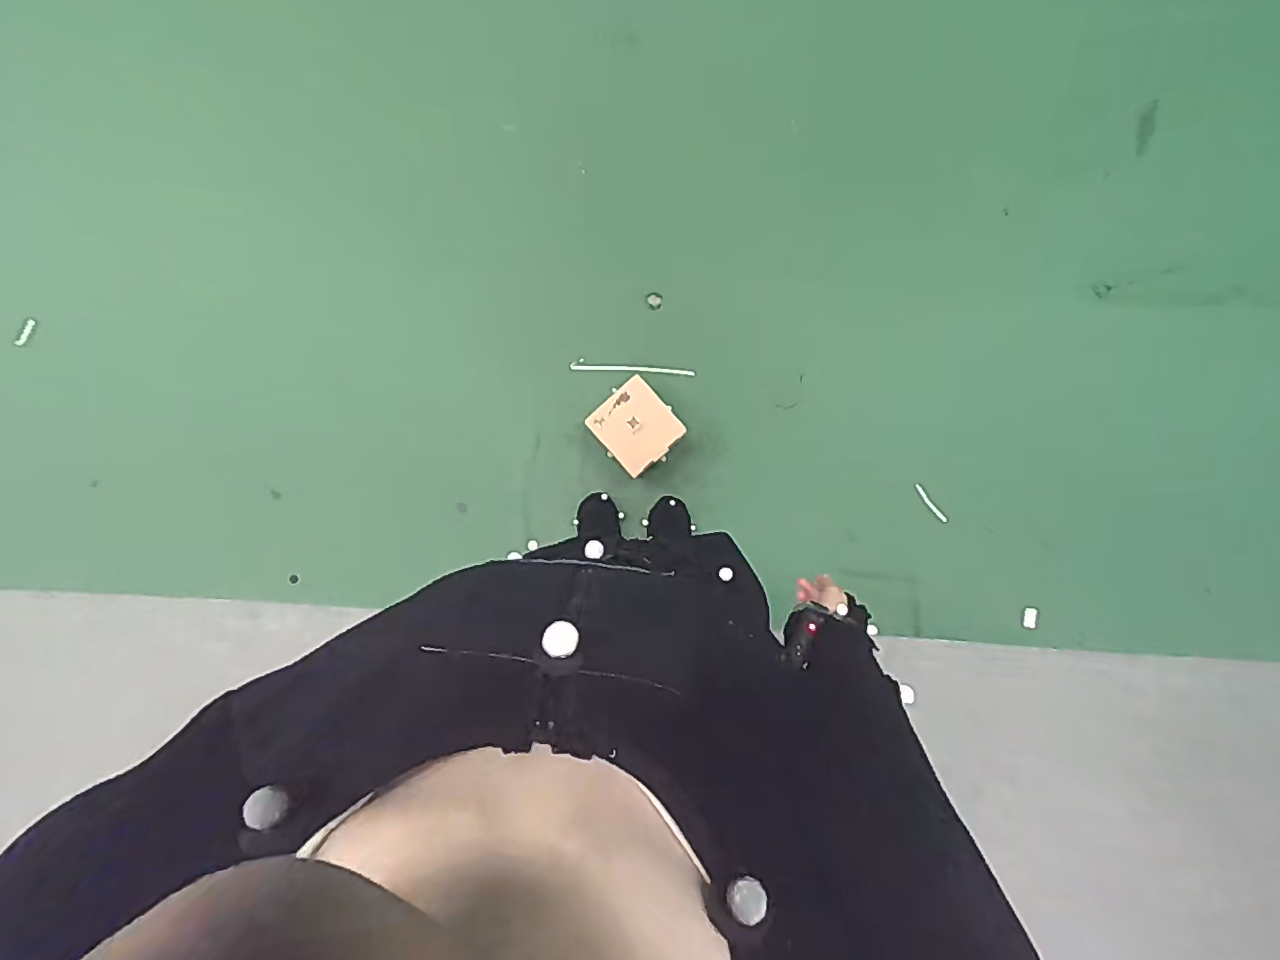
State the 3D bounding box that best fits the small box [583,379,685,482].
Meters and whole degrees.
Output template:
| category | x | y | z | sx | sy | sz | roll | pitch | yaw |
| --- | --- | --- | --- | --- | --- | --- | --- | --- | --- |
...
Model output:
| category | x | y | z | sx | sy | sz | roll | pitch | yaw |
| --- | --- | --- | --- | --- | --- | --- | --- | --- | --- |
| small box | -0.011 | -0.115 | 1.293 | 0.168 | 0.176 | 0.179 | -42 | 90 | 2 |
